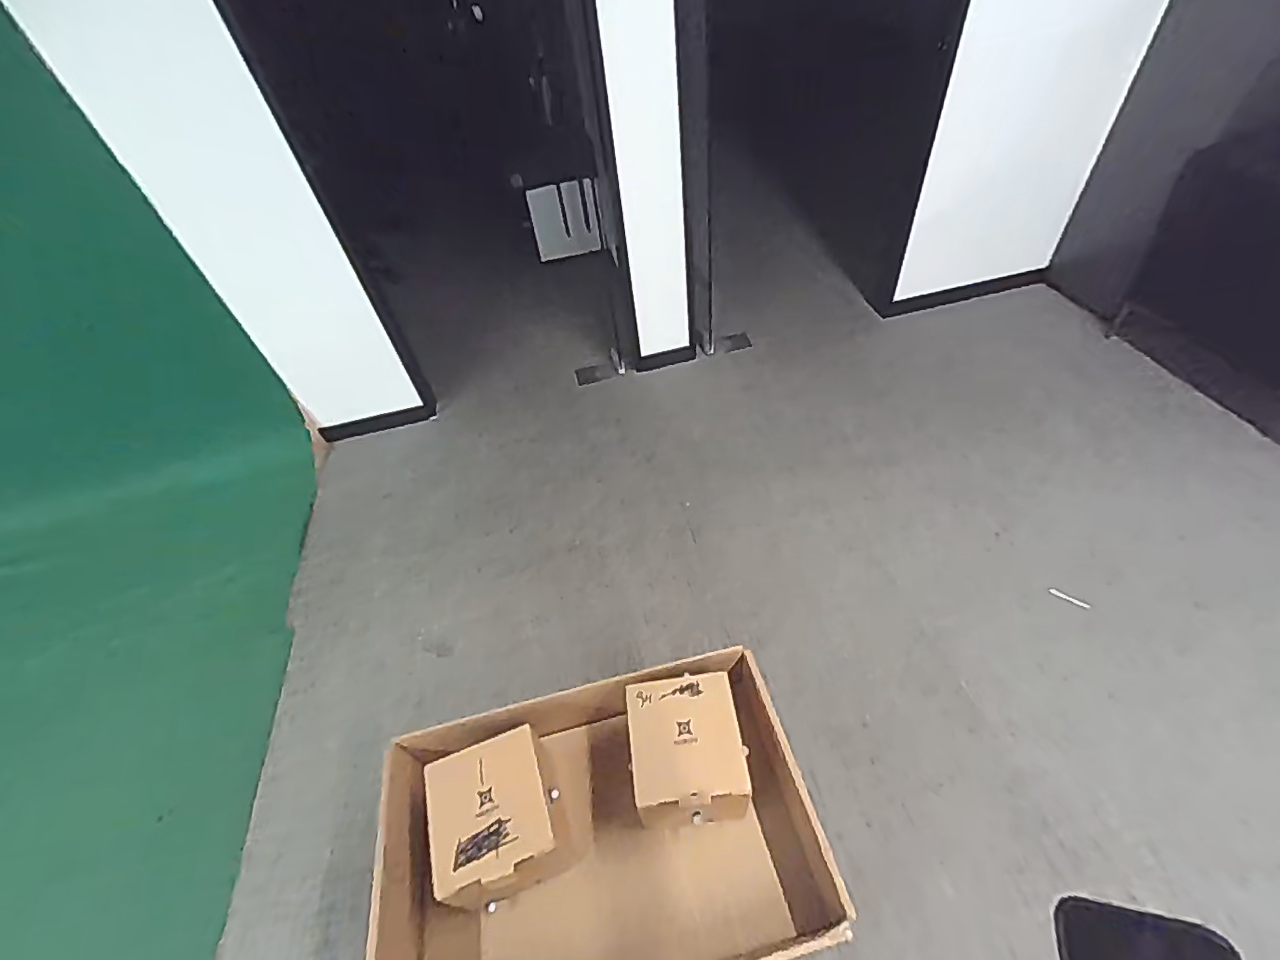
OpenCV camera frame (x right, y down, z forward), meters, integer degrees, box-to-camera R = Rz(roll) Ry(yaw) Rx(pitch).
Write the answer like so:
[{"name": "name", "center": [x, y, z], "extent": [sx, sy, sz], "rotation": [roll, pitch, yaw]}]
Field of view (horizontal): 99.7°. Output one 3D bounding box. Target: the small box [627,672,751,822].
[{"name": "small box", "center": [0.077, 0.431, 0.864], "extent": [0.168, 0.176, 0.179], "rotation": [-8, 49, 1]}]
